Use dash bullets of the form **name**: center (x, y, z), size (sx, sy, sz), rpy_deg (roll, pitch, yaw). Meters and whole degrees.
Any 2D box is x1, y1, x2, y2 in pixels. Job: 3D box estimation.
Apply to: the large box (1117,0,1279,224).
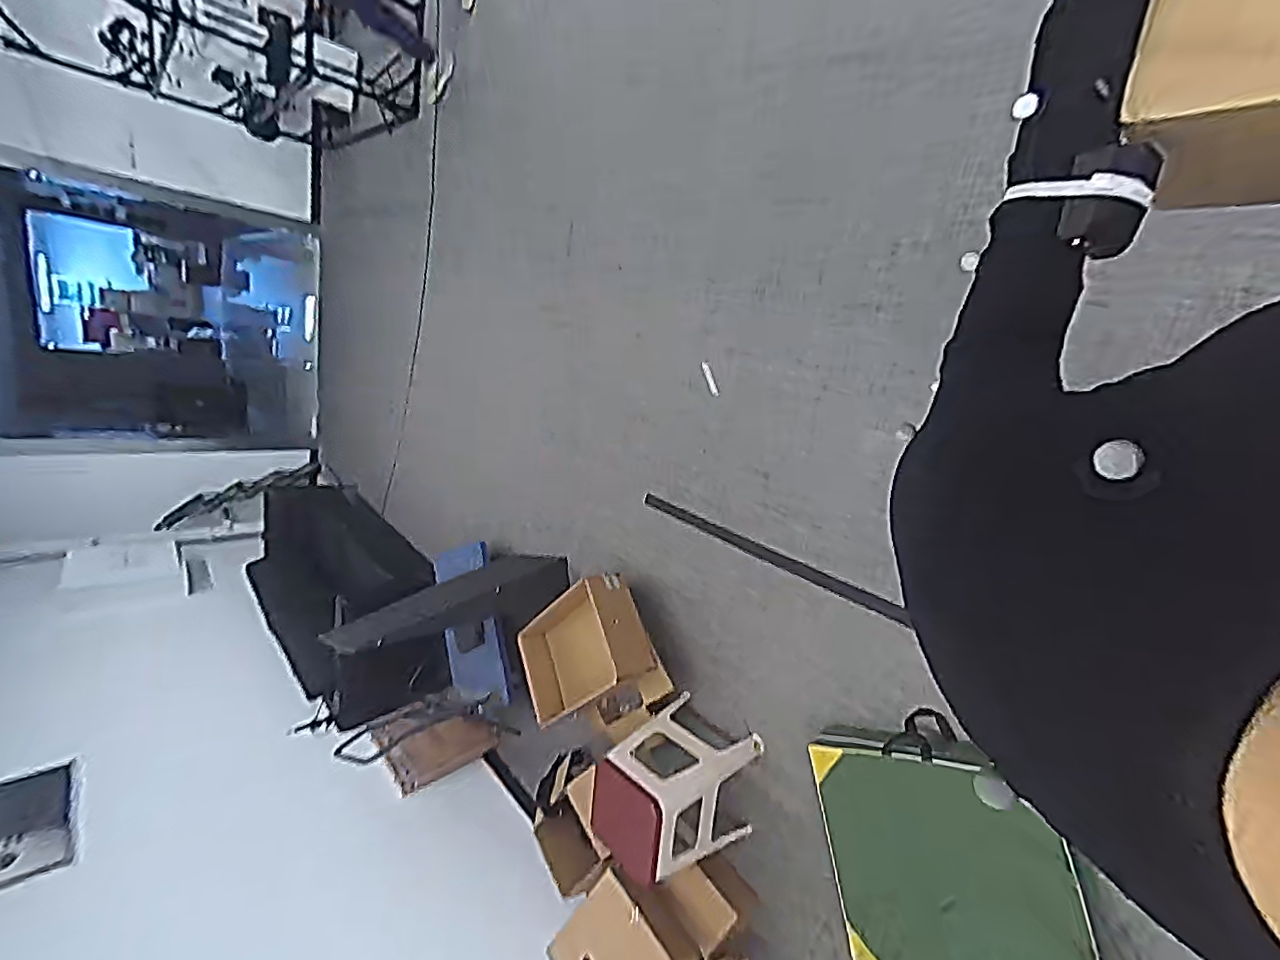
- **large box**: center (0.595, -0.363, 0.322), size (0.408, 0.320, 0.320), rpy_deg (19, 112, 42)
